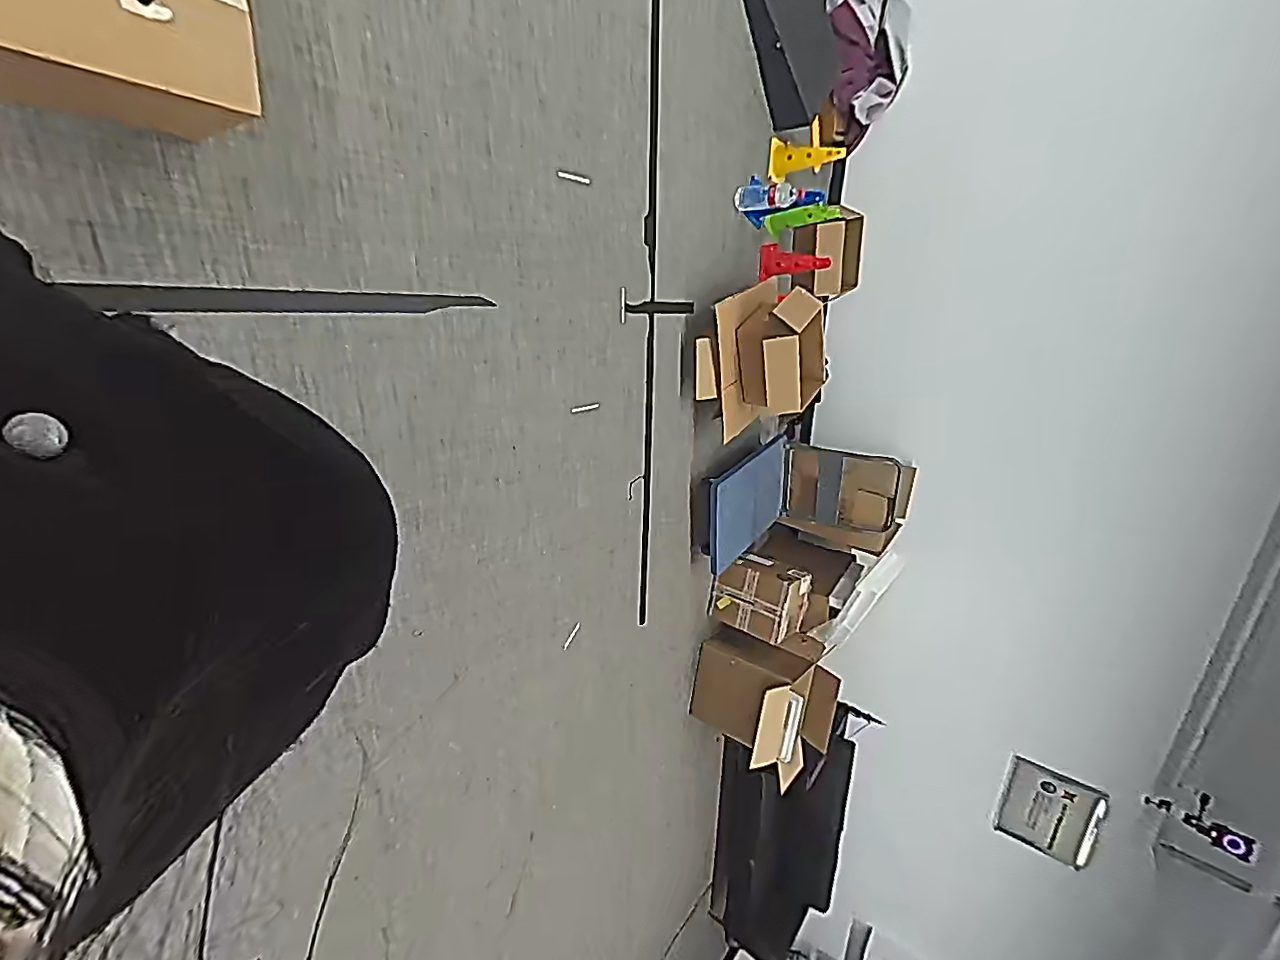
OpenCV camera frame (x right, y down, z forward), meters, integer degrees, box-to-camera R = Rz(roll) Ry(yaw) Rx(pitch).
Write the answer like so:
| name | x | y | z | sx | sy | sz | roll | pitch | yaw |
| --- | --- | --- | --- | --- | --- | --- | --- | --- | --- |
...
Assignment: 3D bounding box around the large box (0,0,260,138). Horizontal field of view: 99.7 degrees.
| name | x | y | z | sx | sy | sz | roll | pitch | yaw |
| --- | --- | --- | --- | --- | --- | --- | --- | --- | --- |
| large box | -0.876 | -0.754 | 0.804 | 0.408 | 0.320 | 0.320 | -19 | 118 | -51 |
